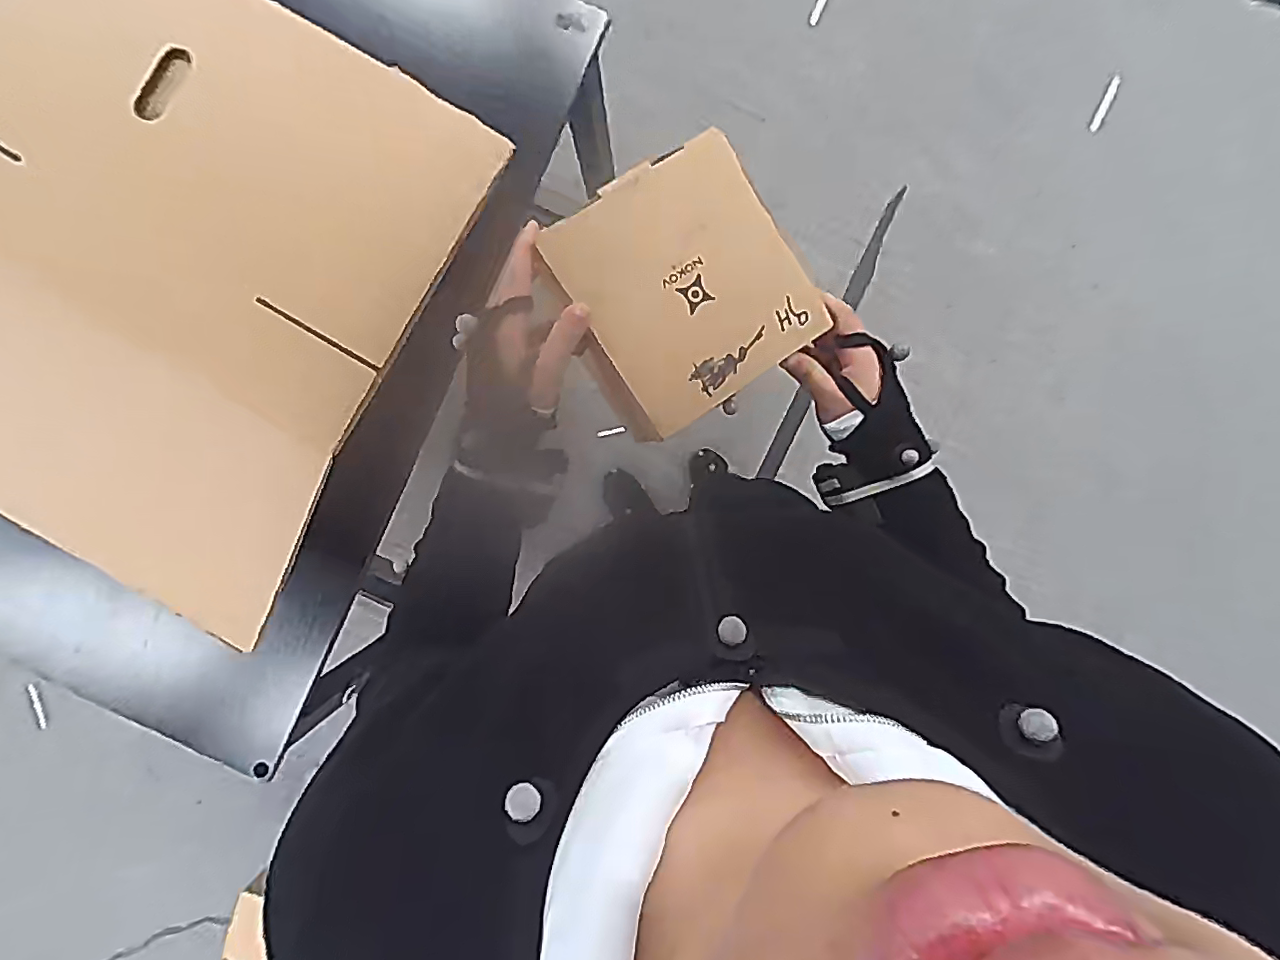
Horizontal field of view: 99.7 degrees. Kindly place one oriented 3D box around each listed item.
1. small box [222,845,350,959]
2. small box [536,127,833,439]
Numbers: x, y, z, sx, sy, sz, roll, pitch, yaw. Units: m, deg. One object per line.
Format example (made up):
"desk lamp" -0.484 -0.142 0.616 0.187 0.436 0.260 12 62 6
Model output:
"small box" -0.843 1.030 1.306 0.179 0.176 0.168 18 91 2
"small box" 0.025 -0.150 0.480 0.168 0.176 0.179 -35 96 -5
